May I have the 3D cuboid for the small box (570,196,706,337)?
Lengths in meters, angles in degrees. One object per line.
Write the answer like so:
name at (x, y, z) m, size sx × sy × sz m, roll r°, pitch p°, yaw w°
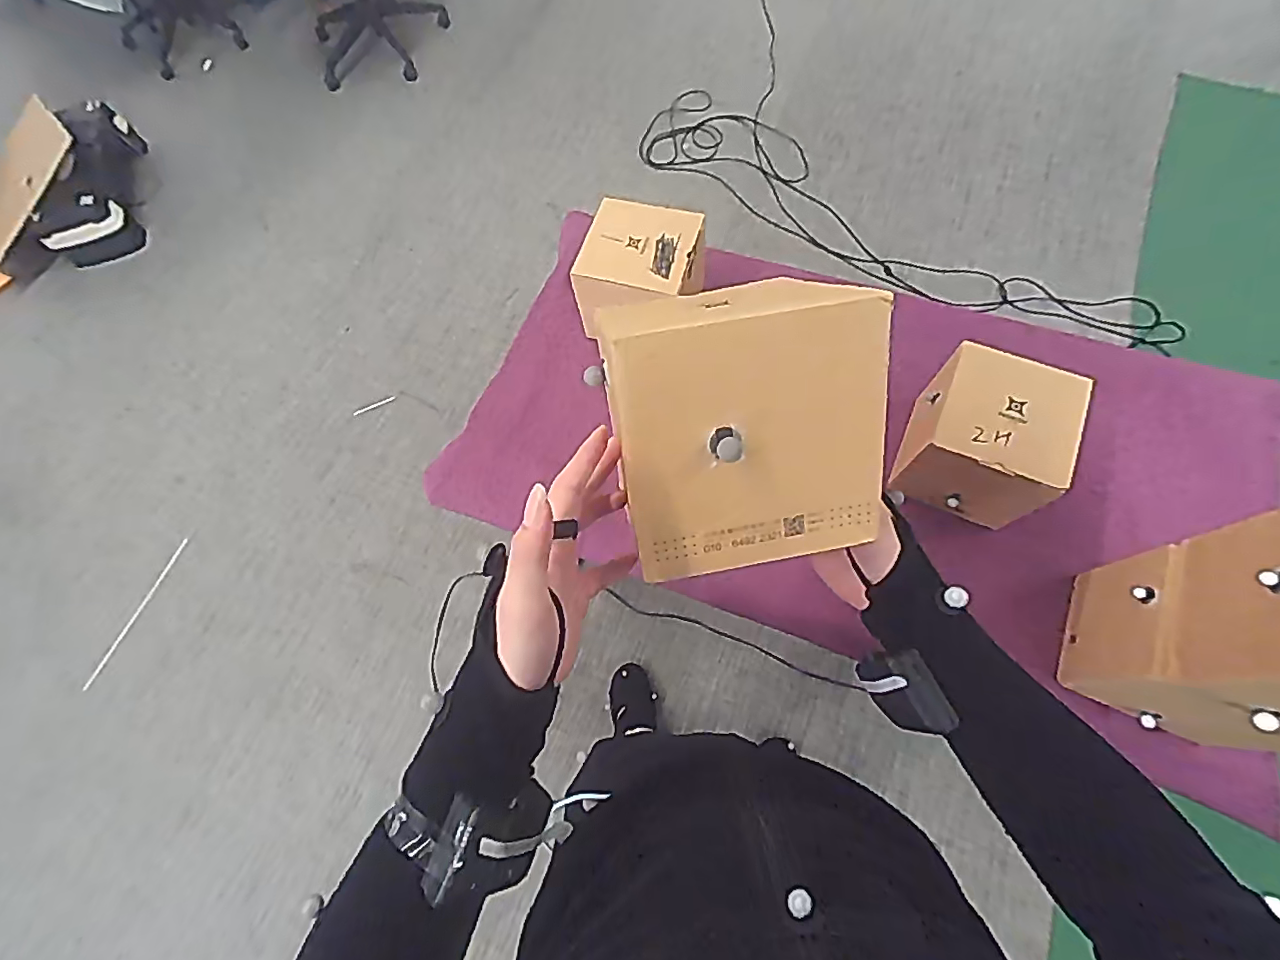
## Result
small box at (0.005, -0.341, 0.921) m, size 0.179 × 0.176 × 0.168 m, roll 16°, pitch 71°, yaw 11°

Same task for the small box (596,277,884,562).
small box at (0.064, -0.050, 0.413) m, size 0.168 × 0.179 × 0.176 m, roll -10°, pitch 113°, yaw -4°

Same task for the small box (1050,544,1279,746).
small box at (0.660, 0.203, 0.662) m, size 0.179 × 0.176 × 0.168 m, roll 23°, pitch 72°, yaw 13°

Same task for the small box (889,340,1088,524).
small box at (0.486, -0.062, 0.778) m, size 0.168 × 0.176 × 0.179 m, roll 23°, pitch 73°, yaw 13°
